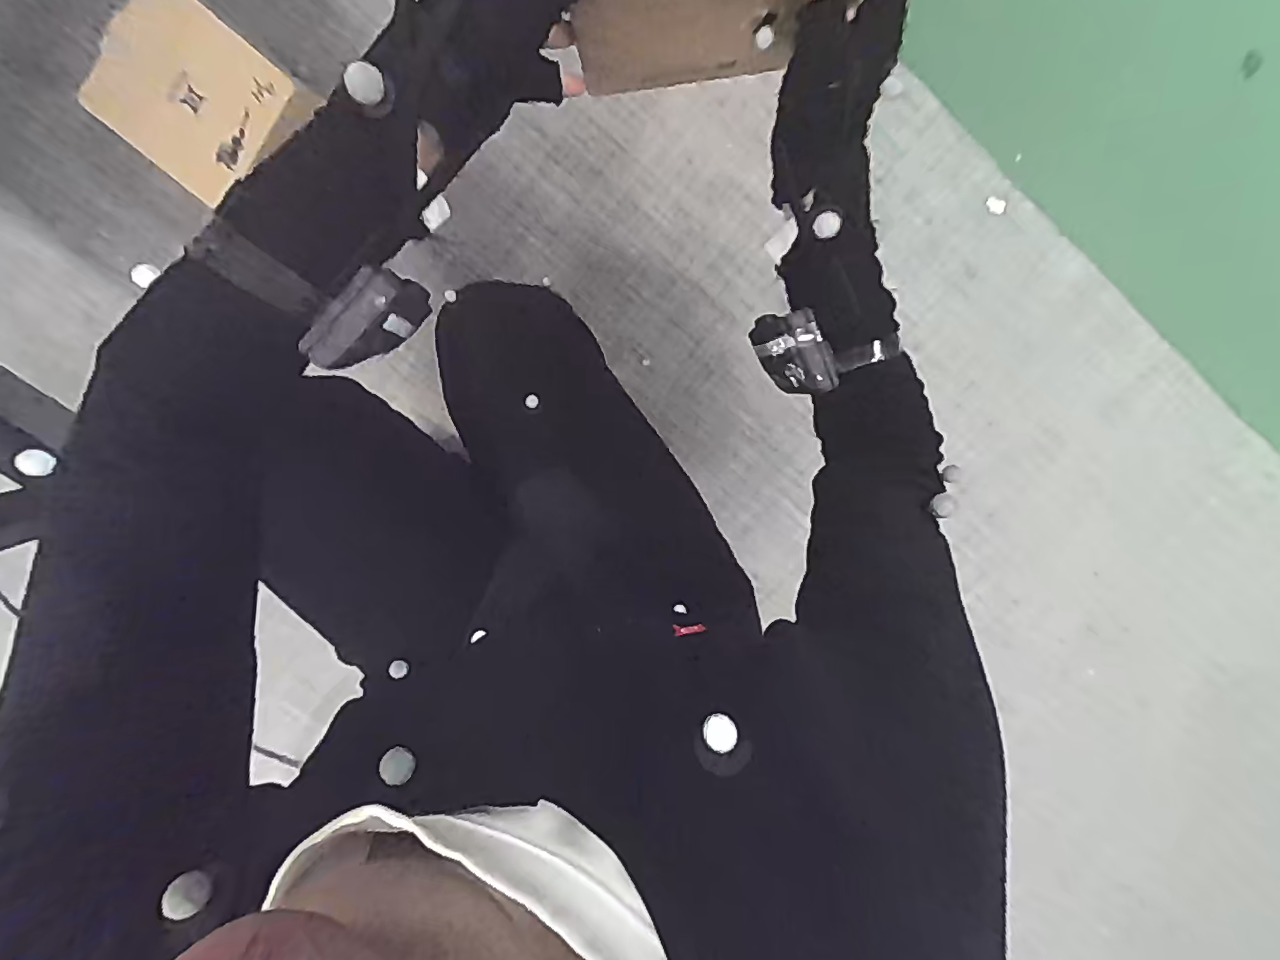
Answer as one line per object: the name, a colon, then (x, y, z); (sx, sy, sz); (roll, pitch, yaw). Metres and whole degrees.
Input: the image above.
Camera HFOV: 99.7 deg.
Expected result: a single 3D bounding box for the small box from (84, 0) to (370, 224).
small box: (-0.474, -0.439, 0.649); (0.179, 0.176, 0.168); (39, 103, -8)
